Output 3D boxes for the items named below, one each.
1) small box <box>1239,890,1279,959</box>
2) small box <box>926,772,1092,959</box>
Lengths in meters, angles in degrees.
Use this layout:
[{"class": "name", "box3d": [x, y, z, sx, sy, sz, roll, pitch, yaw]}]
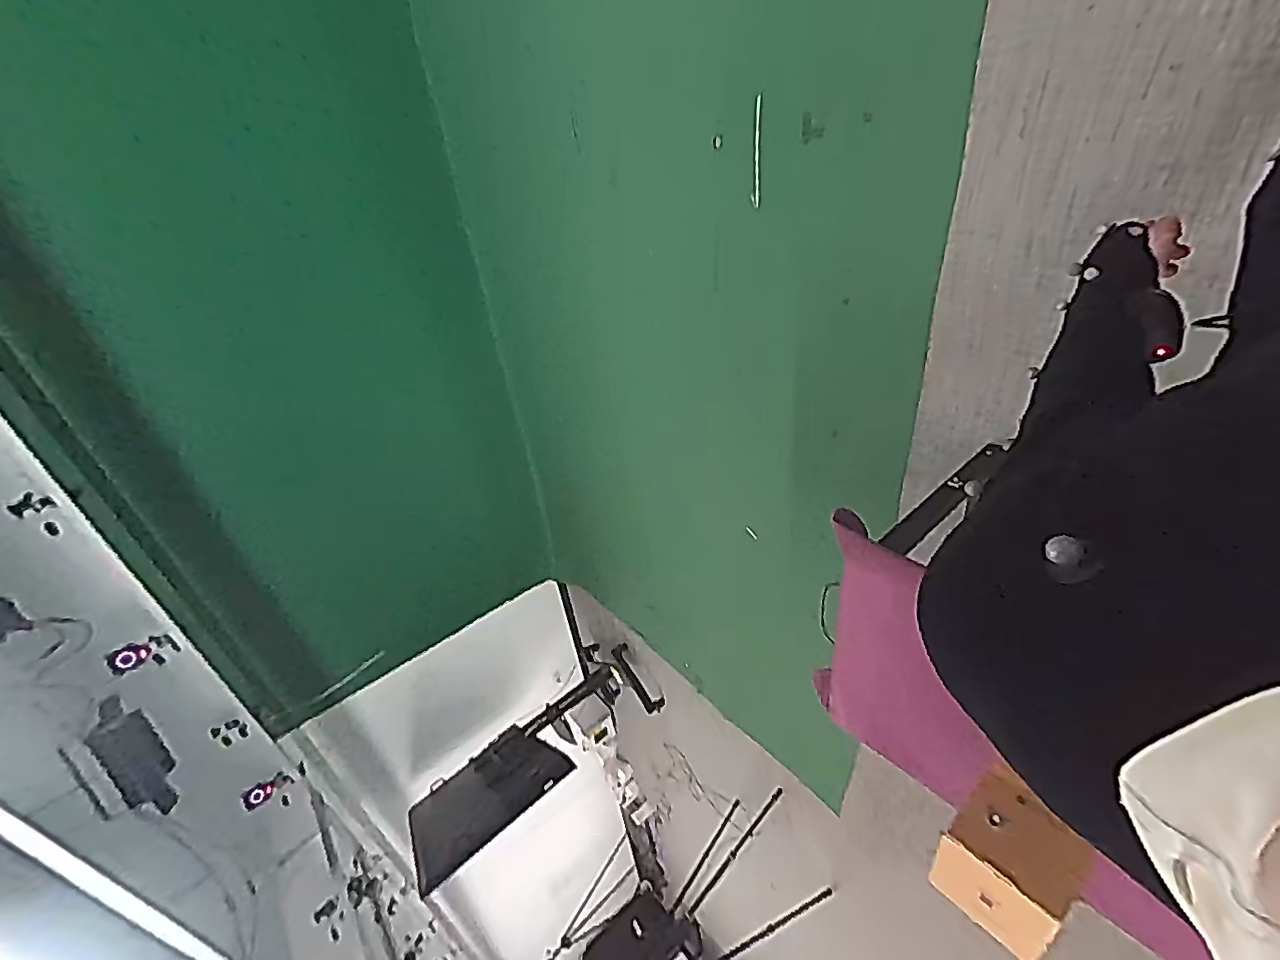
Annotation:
[{"class": "small box", "box3d": [0.963, 0.690, 0.729, 0.168, 0.176, 0.179, 29, 137, 43]}, {"class": "small box", "box3d": [0.610, 0.635, 0.898, 0.168, 0.176, 0.179, 29, 138, 44]}]
